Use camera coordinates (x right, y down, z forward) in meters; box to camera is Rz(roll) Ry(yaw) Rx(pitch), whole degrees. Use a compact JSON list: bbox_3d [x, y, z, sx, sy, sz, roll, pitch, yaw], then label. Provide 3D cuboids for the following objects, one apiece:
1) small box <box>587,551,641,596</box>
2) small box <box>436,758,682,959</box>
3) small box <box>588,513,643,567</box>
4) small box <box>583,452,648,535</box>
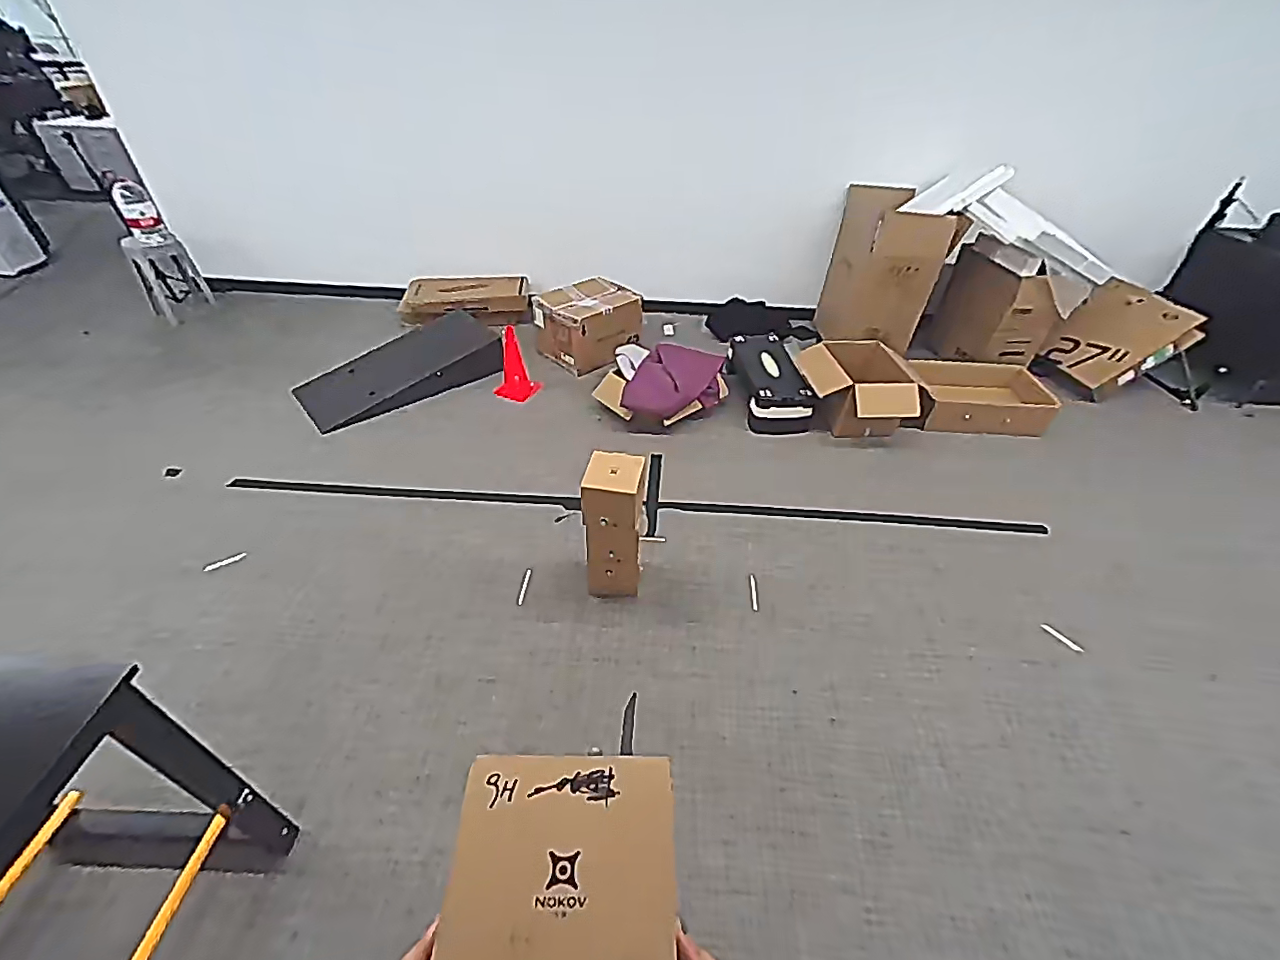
[{"bbox_3d":[-0.087,0.285,1.870,0.179,0.176,0.168,2,41,-1],"label":"small box"},{"bbox_3d":[-0.052,0.343,0.438,0.168,0.176,0.179,0,46,-1],"label":"small box"},{"bbox_3d":[-0.077,0.160,1.764,0.168,0.176,0.179,4,41,2],"label":"small box"},{"bbox_3d":[-0.073,0.041,1.653,0.168,0.176,0.179,7,42,7],"label":"small box"}]
